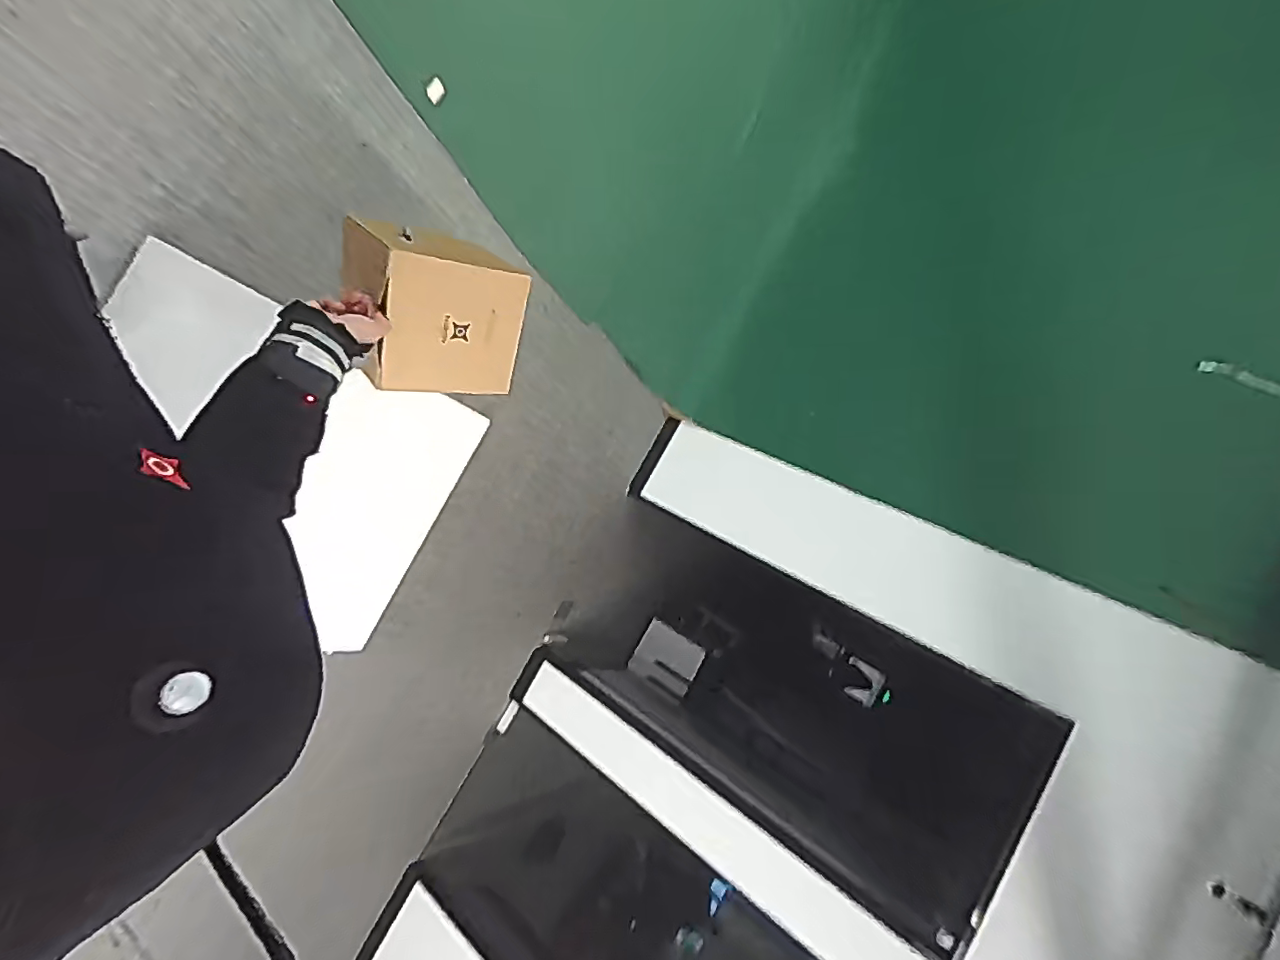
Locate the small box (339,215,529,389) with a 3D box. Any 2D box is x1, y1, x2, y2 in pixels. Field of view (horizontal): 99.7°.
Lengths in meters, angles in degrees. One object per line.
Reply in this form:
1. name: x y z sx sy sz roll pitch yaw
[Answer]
1. small box: -0.275 -0.229 0.704 0.179 0.176 0.168 -9 128 -43
